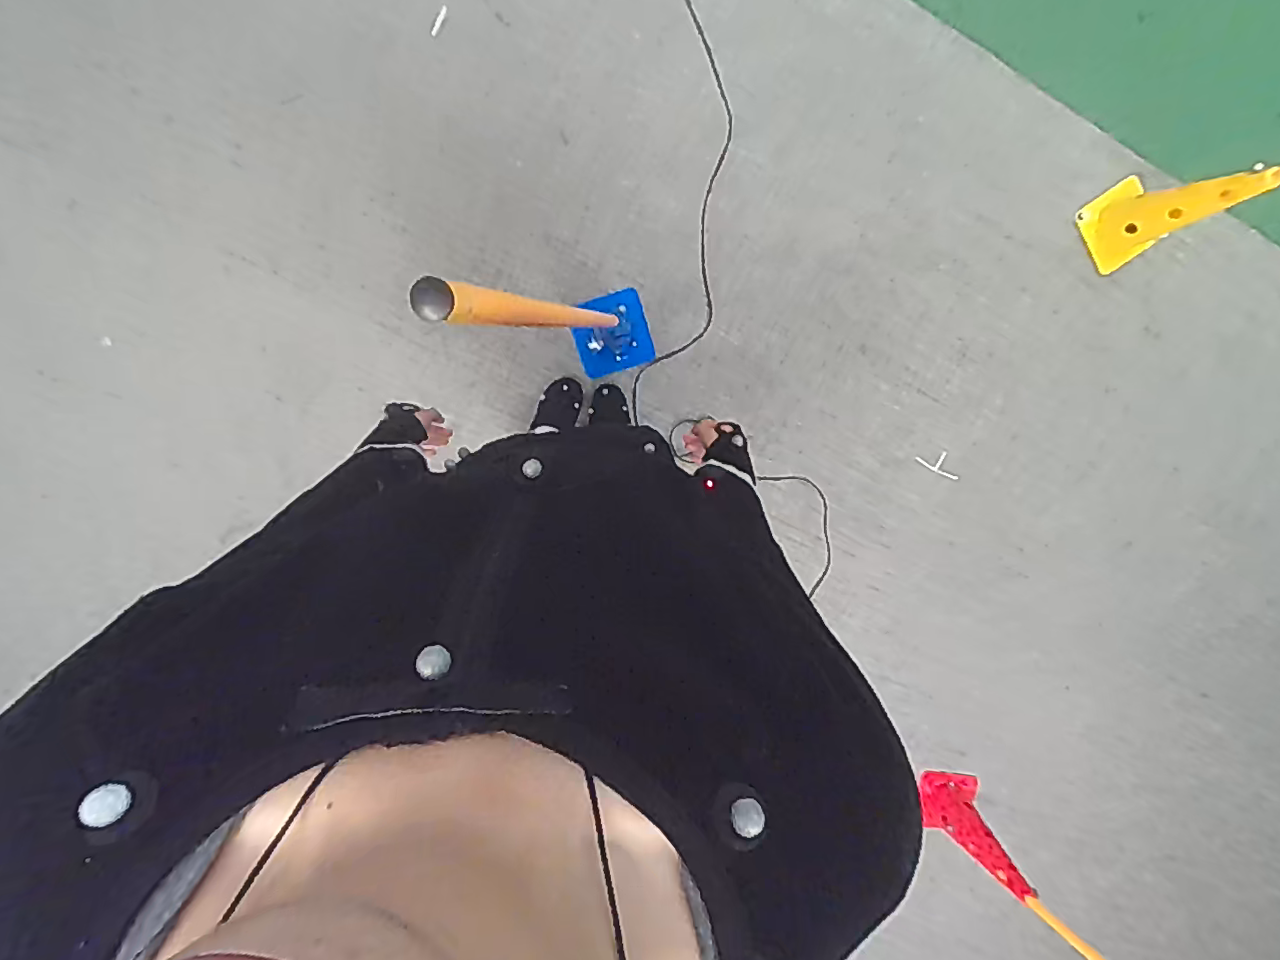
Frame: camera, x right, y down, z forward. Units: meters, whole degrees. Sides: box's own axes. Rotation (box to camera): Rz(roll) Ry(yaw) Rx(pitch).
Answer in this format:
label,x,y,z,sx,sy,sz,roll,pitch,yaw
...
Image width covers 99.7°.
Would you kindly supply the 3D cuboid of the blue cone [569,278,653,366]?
label,x,y,z,sx,sy,sz,roll,pitch,yaw
blue cone,-0.066,-0.373,1.257,0.193,0.380,0.192,-19,102,1
